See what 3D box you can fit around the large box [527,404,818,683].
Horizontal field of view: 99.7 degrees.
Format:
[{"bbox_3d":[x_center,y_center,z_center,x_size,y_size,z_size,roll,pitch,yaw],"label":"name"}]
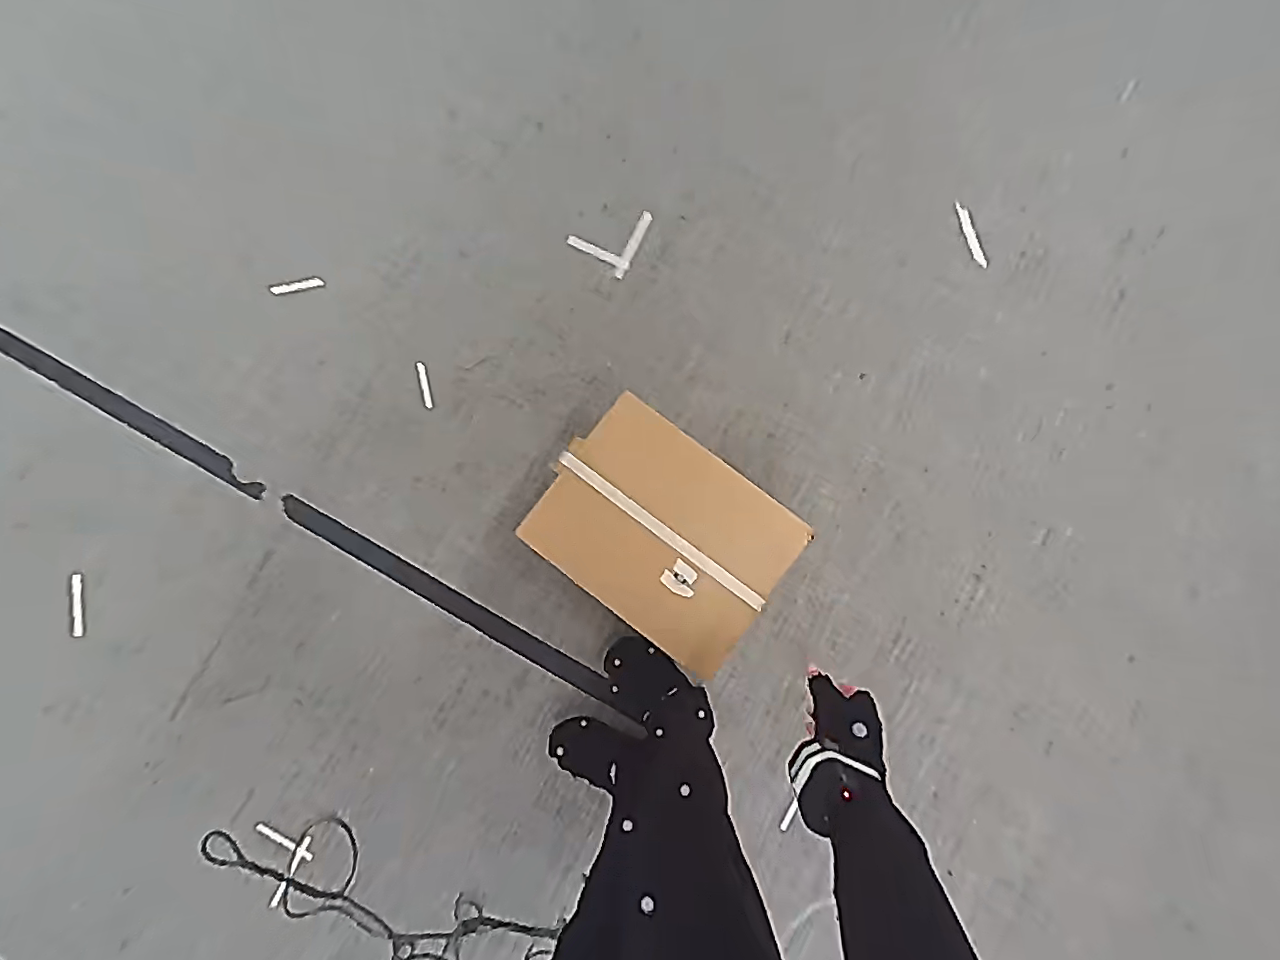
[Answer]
[{"bbox_3d":[0.052,0.115,1.061,0.408,0.320,0.320,37,86,3],"label":"large box"}]
